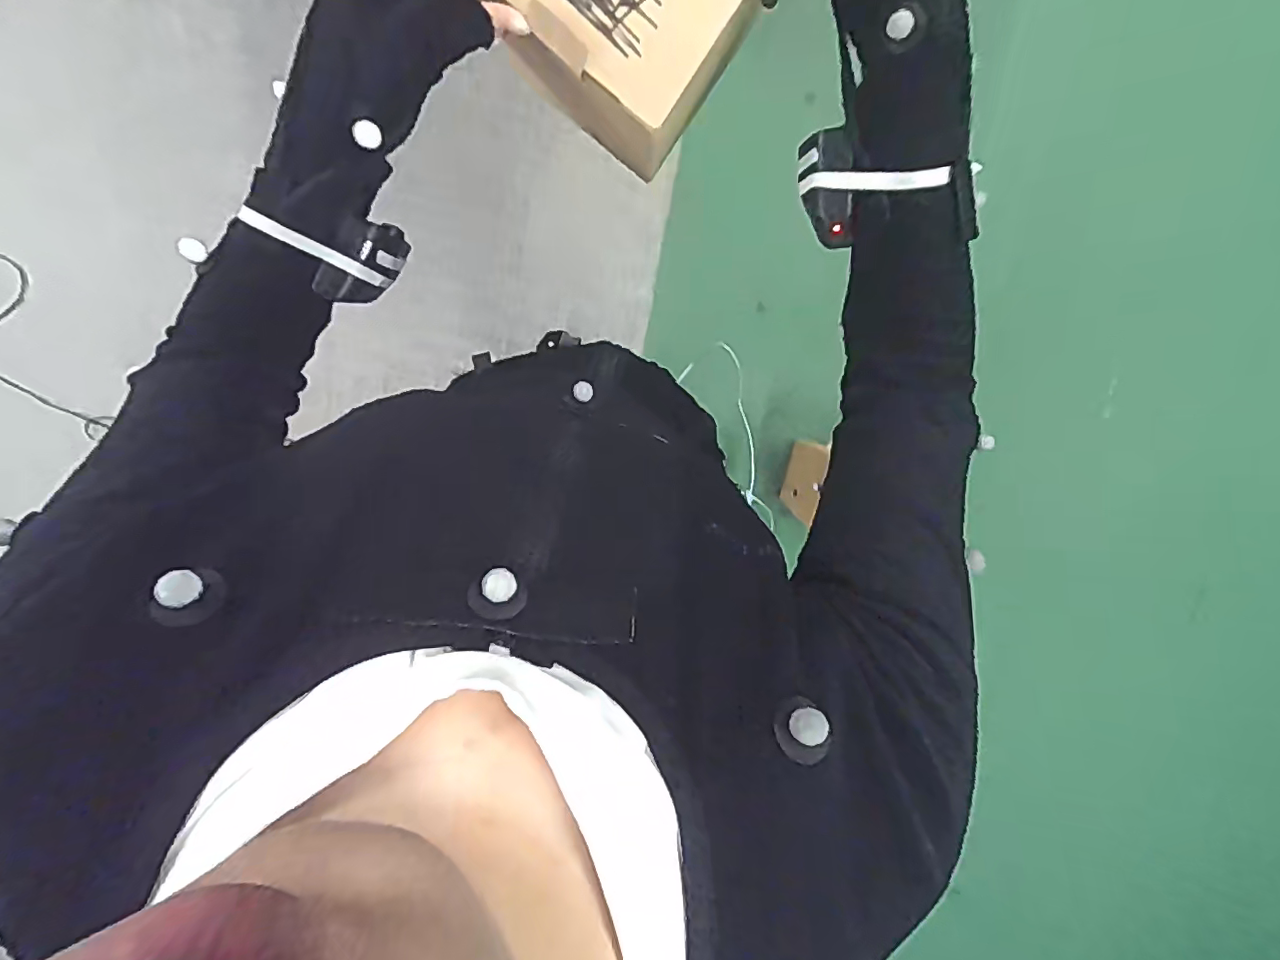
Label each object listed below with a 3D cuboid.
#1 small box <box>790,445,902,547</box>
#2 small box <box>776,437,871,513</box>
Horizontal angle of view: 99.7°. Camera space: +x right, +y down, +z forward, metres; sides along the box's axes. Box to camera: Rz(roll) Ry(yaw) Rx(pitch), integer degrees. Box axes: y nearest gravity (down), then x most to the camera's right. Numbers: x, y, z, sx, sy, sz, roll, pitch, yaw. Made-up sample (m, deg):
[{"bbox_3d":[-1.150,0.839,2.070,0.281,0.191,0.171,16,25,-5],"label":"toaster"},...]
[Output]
[{"bbox_3d":[0.461,0.031,1.243,0.168,0.176,0.179,13,101,-3],"label":"small box"},{"bbox_3d":[0.466,-0.002,1.403,0.168,0.176,0.179,13,102,-4],"label":"small box"}]
